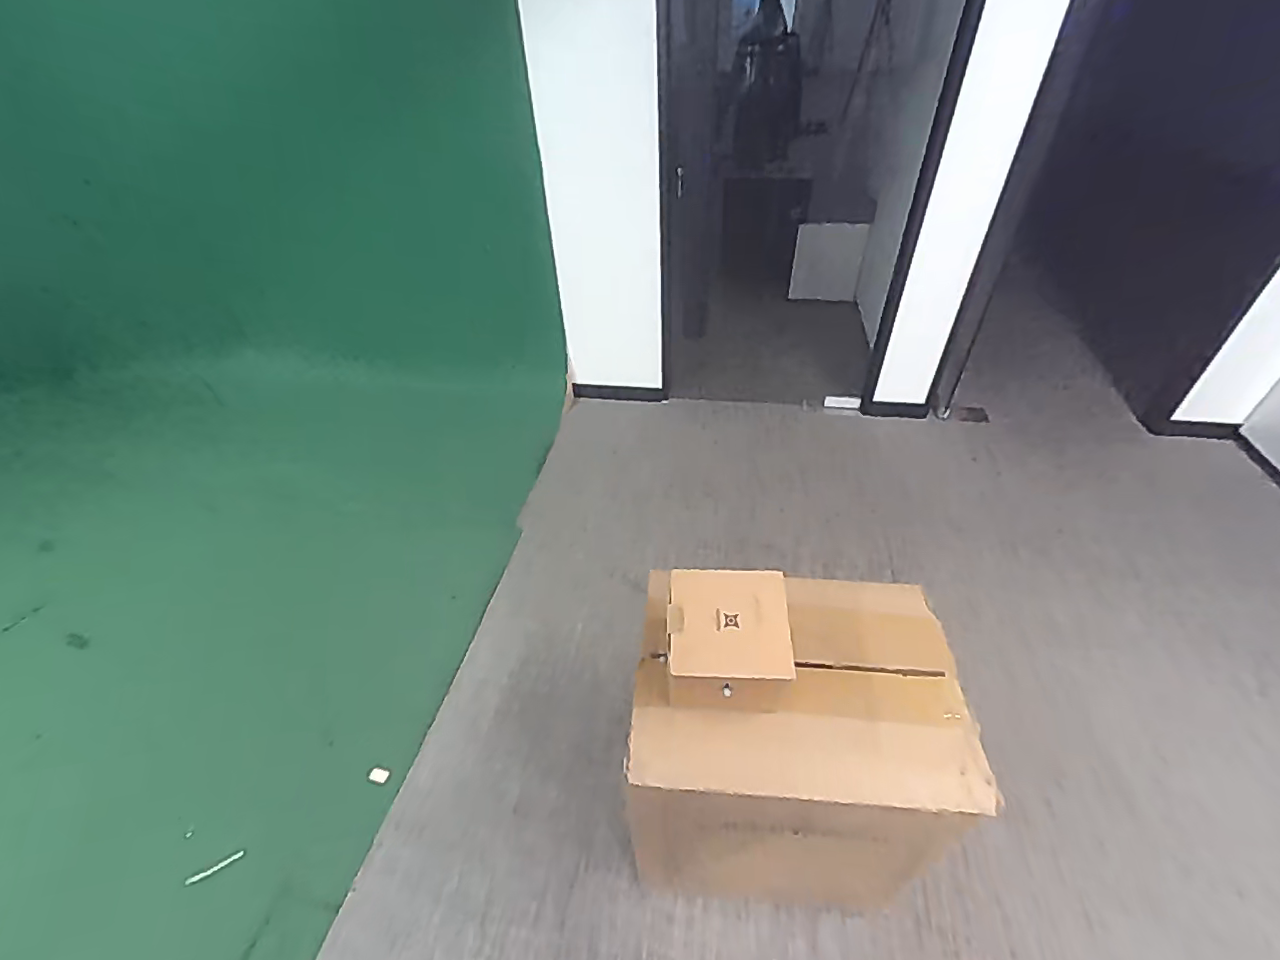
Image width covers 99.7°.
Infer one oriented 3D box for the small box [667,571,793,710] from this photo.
[{"bbox_3d":[0.132,0.257,0.857,0.179,0.176,0.168,1,53,3],"label":"small box"}]
